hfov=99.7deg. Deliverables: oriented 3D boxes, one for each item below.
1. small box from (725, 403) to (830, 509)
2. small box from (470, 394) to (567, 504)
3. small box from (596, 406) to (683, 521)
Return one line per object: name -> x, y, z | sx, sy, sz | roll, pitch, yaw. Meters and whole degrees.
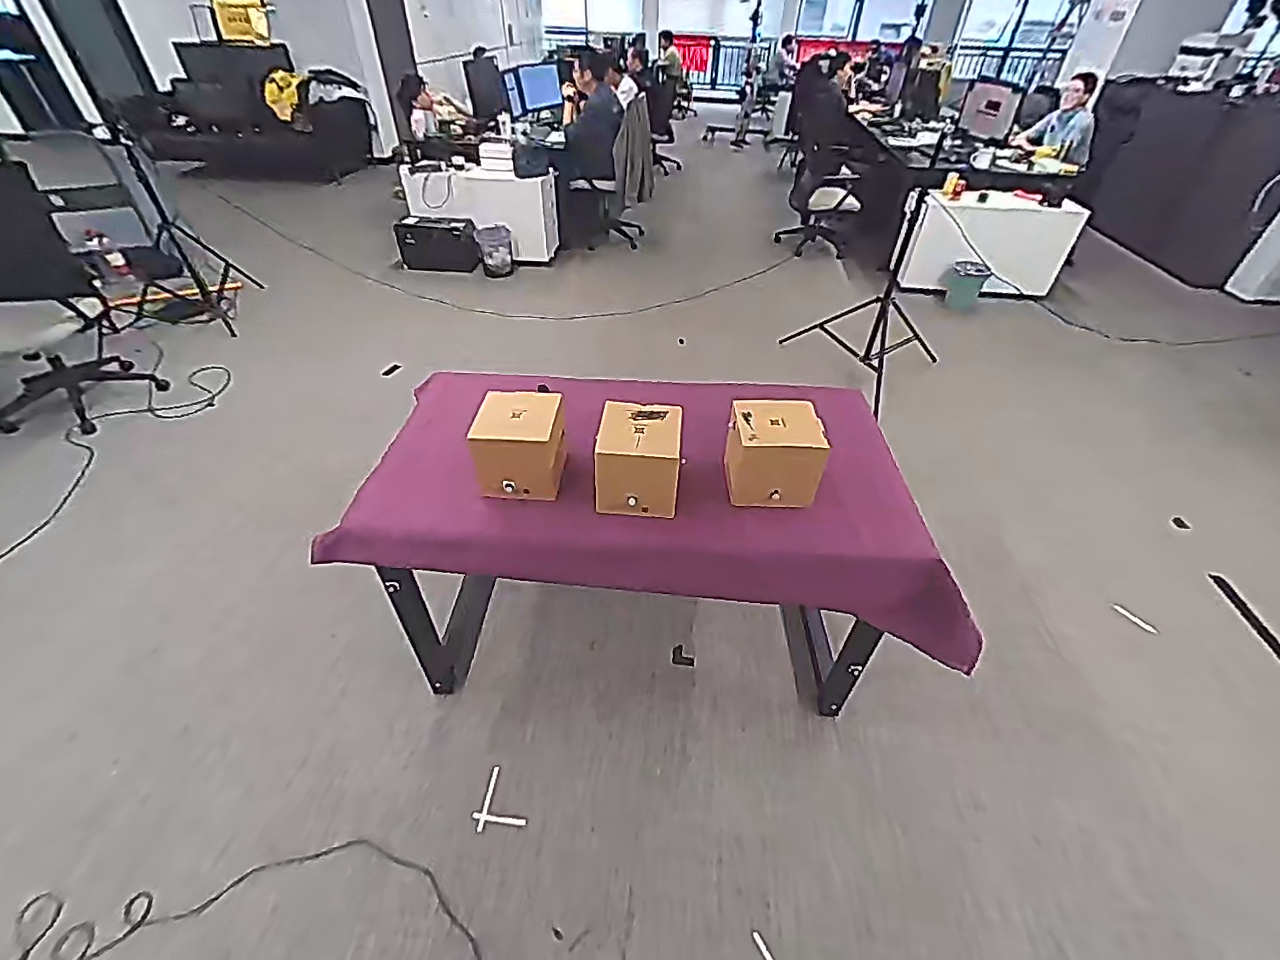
small box -> 0.288, -0.050, 1.176 | 0.179, 0.176, 0.168 | 2, 41, 0
small box -> -0.254, -0.069, 1.179 | 0.168, 0.176, 0.179 | 1, 42, 2
small box -> 0.001, -0.037, 1.149 | 0.168, 0.176, 0.179 | 4, 41, 3
